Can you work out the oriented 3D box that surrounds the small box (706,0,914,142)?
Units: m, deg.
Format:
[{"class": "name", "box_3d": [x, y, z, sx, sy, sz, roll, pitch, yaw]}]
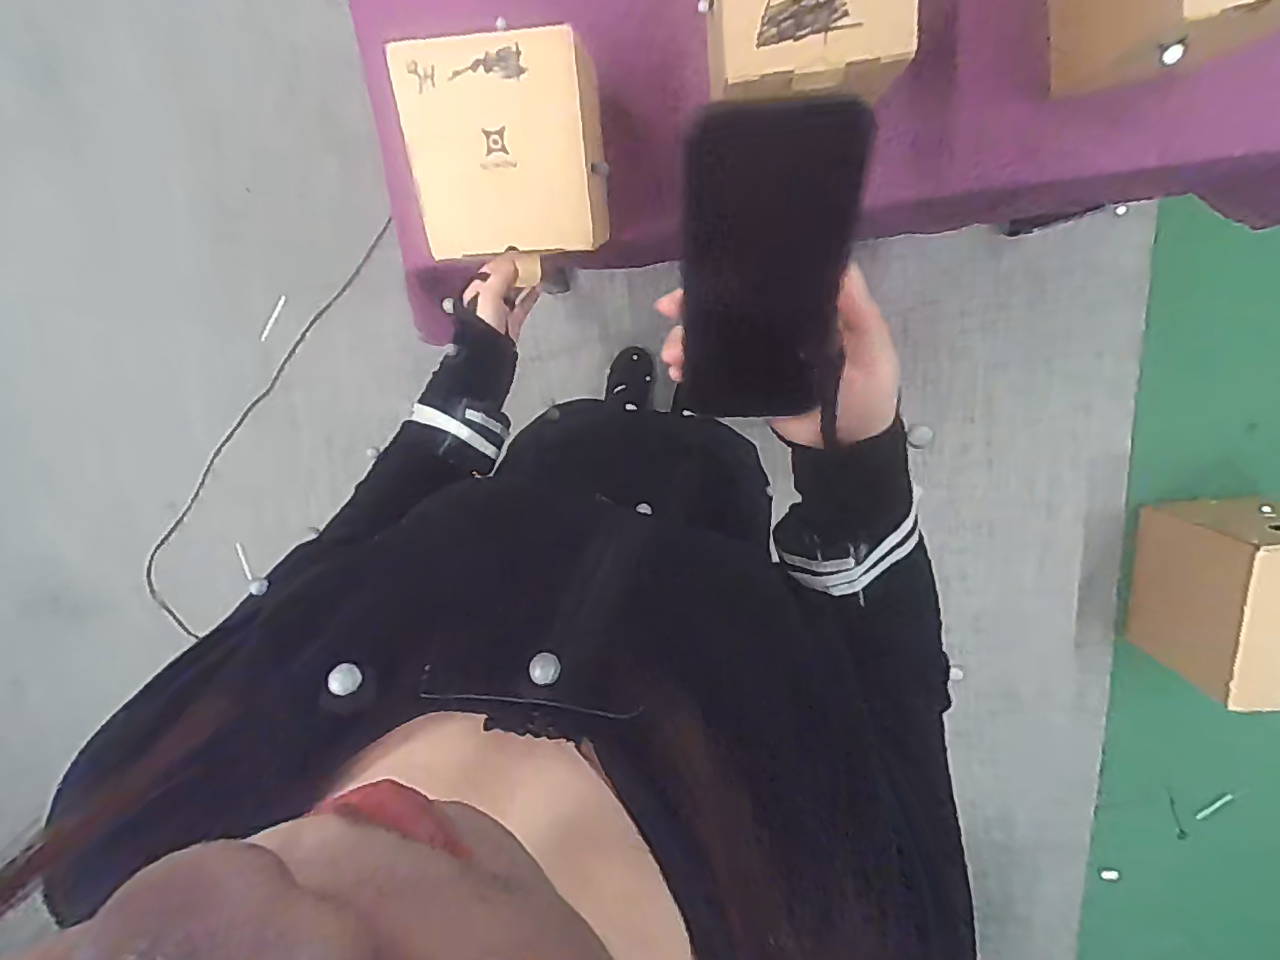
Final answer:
[{"class": "small box", "box_3d": [0.154, -0.459, 0.533, 0.168, 0.176, 0.179, -4, 103, 5]}]

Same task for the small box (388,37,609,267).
[{"class": "small box", "box_3d": [-0.127, -0.331, 0.567, 0.168, 0.176, 0.179, -2, 118, 4]}]
